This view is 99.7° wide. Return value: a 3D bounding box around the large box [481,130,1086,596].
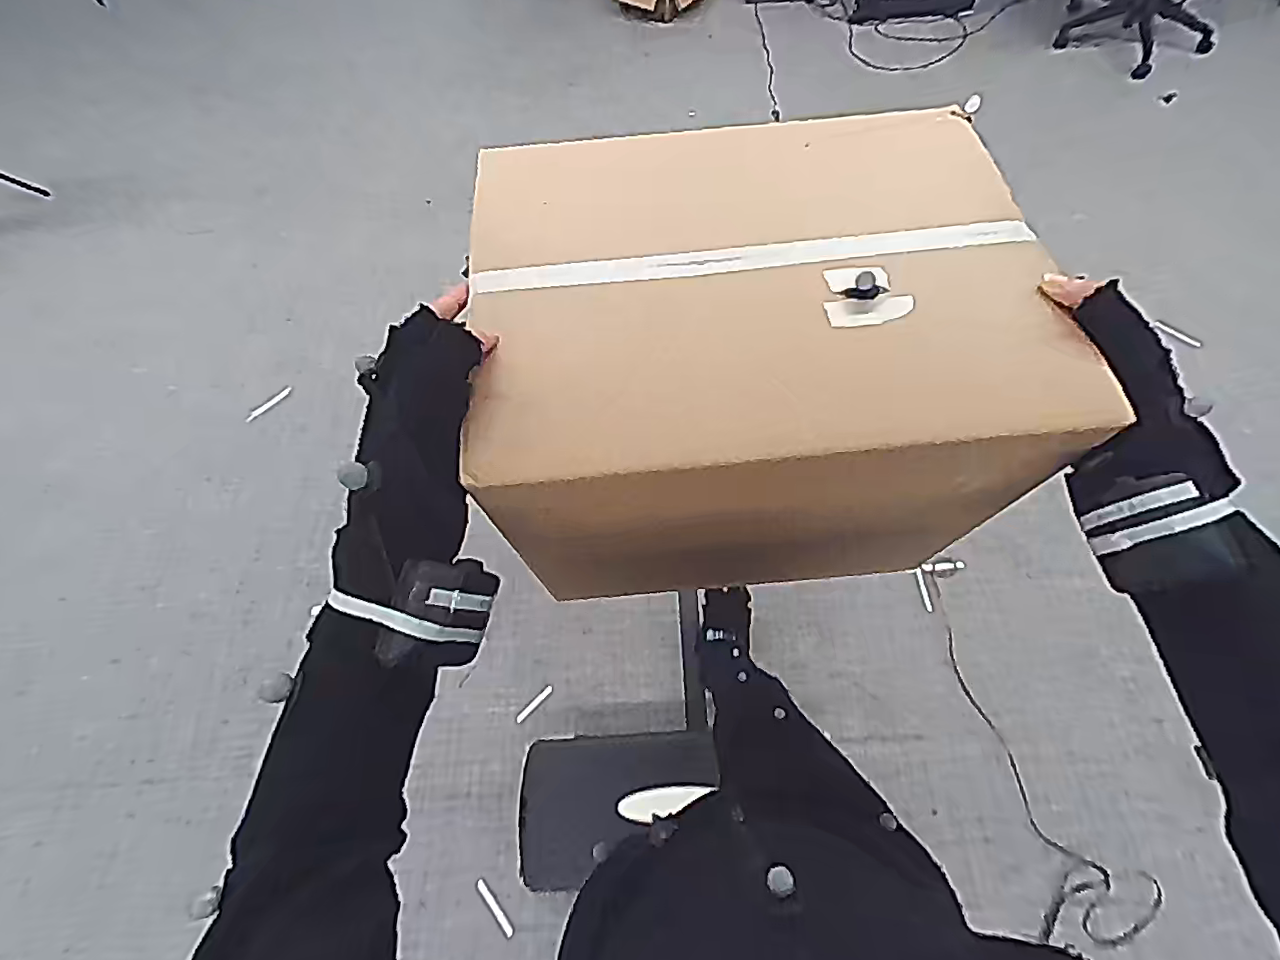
[{"bbox_3d":[0.083,-0.090,0.545,0.408,0.320,0.320,-6,64,0],"label":"large box"}]
